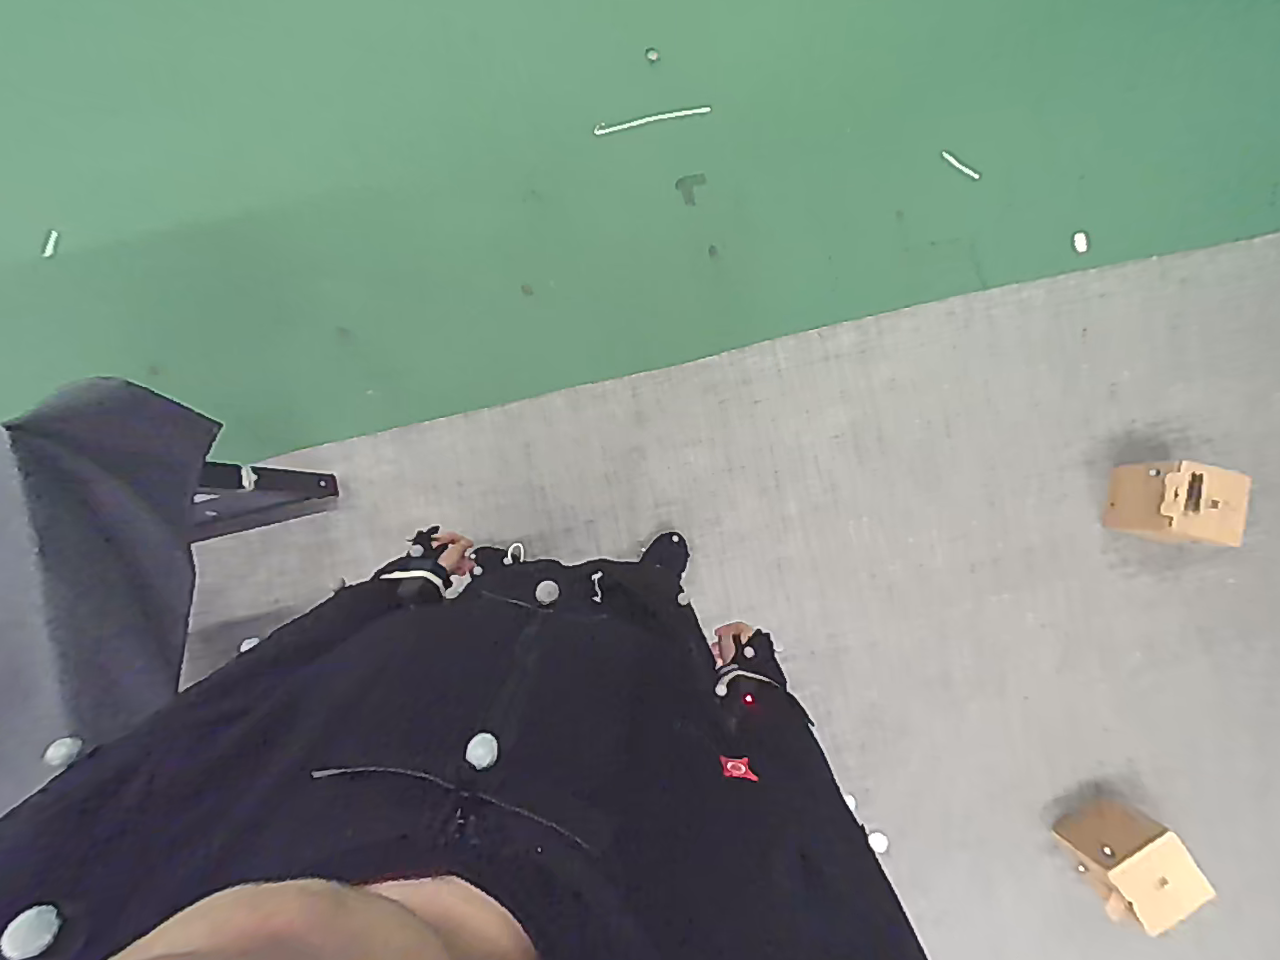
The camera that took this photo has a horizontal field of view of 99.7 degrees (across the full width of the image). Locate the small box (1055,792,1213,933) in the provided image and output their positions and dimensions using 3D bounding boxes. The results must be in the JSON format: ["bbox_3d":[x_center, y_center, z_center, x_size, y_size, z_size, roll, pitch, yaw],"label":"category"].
[{"bbox_3d":[1.135,0.876,1.258,0.179,0.176,0.168,-33,87,-1],"label":"small box"}]
